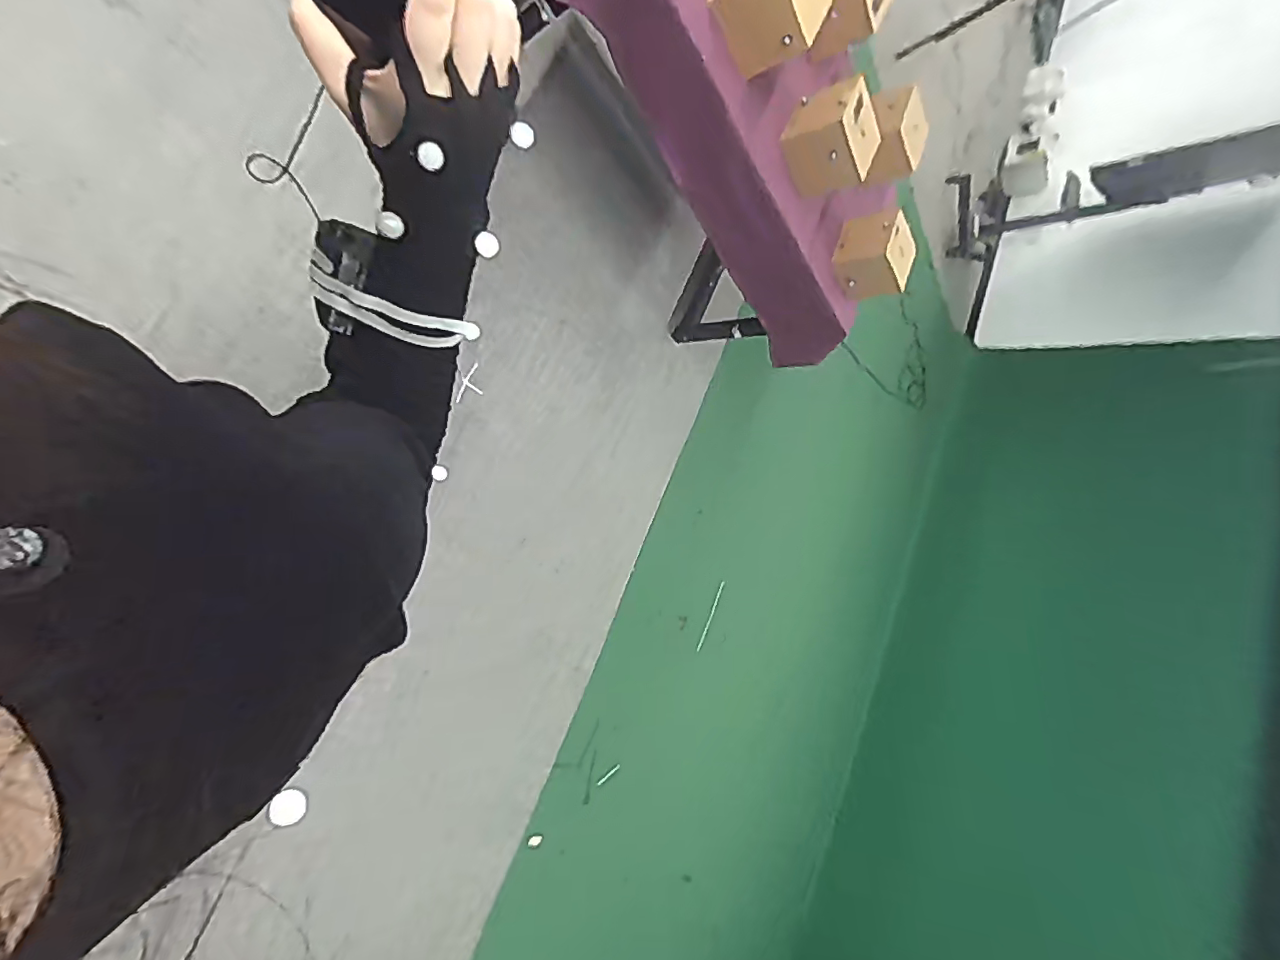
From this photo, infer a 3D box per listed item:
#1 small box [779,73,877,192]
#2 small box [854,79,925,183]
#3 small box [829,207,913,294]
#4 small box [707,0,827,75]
[{"bbox_3d":[0.482,-0.879,1.389,0.179,0.176,0.168,41,67,-42],"label":"small box"},{"bbox_3d":[0.726,-1.032,1.614,0.168,0.176,0.179,33,73,-43],"label":"small box"},{"bbox_3d":[0.704,-0.689,1.647,0.179,0.176,0.168,35,71,-43],"label":"small box"},{"bbox_3d":[0.268,-1.020,1.147,0.179,0.176,0.168,39,69,-43],"label":"small box"}]
